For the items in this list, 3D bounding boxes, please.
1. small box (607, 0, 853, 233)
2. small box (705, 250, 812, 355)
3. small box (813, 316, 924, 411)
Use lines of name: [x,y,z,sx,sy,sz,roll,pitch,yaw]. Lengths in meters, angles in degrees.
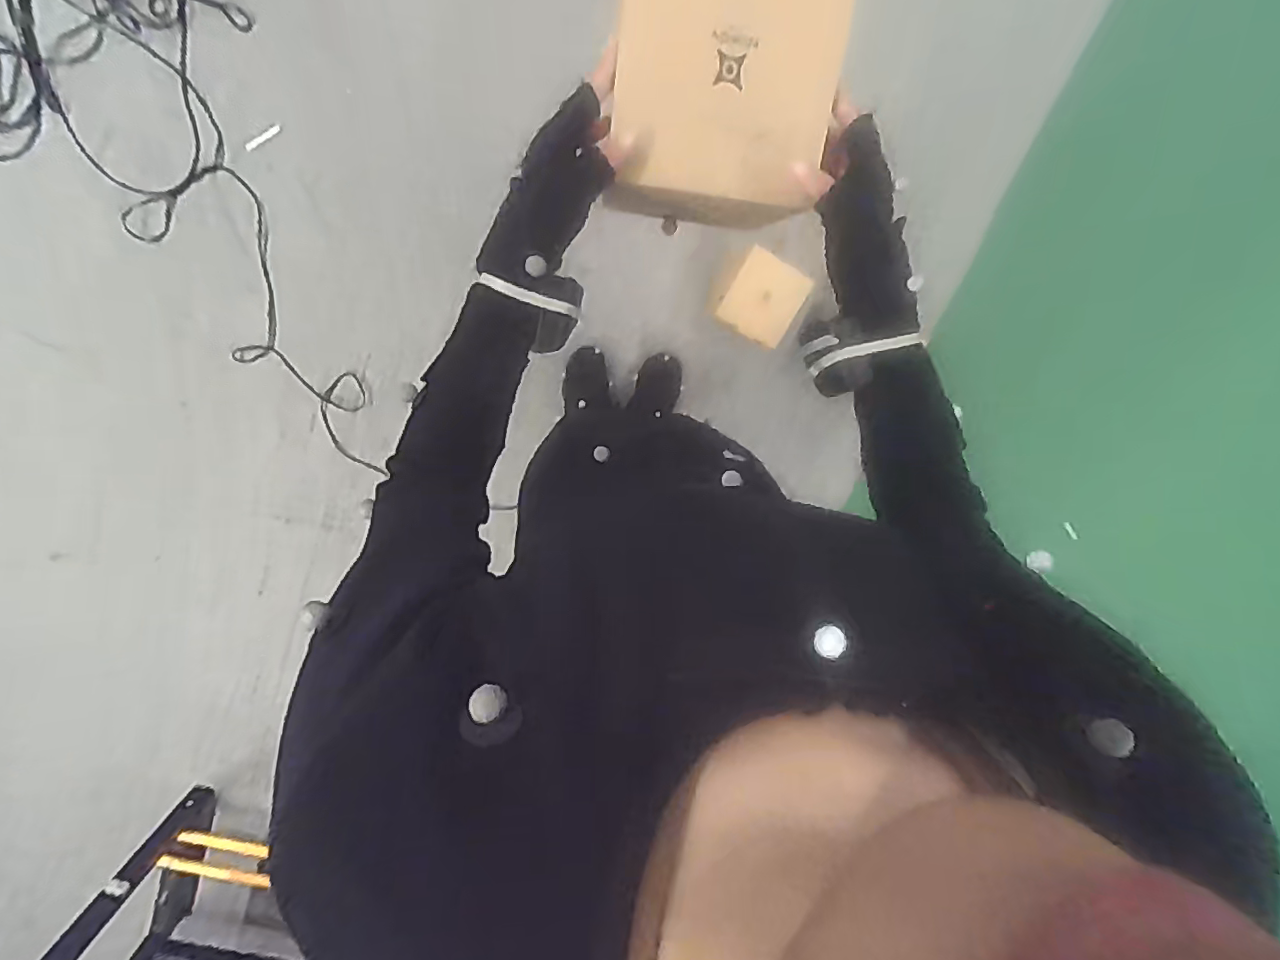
small box: [0.060,-0.326,0.470,0.168,0.176,0.179,4,110,-6]
small box: [0.273,-0.422,1.301,0.168,0.176,0.179,27,102,-11]
small box: [0.559,-0.294,1.358,0.168,0.176,0.179,22,102,-10]
